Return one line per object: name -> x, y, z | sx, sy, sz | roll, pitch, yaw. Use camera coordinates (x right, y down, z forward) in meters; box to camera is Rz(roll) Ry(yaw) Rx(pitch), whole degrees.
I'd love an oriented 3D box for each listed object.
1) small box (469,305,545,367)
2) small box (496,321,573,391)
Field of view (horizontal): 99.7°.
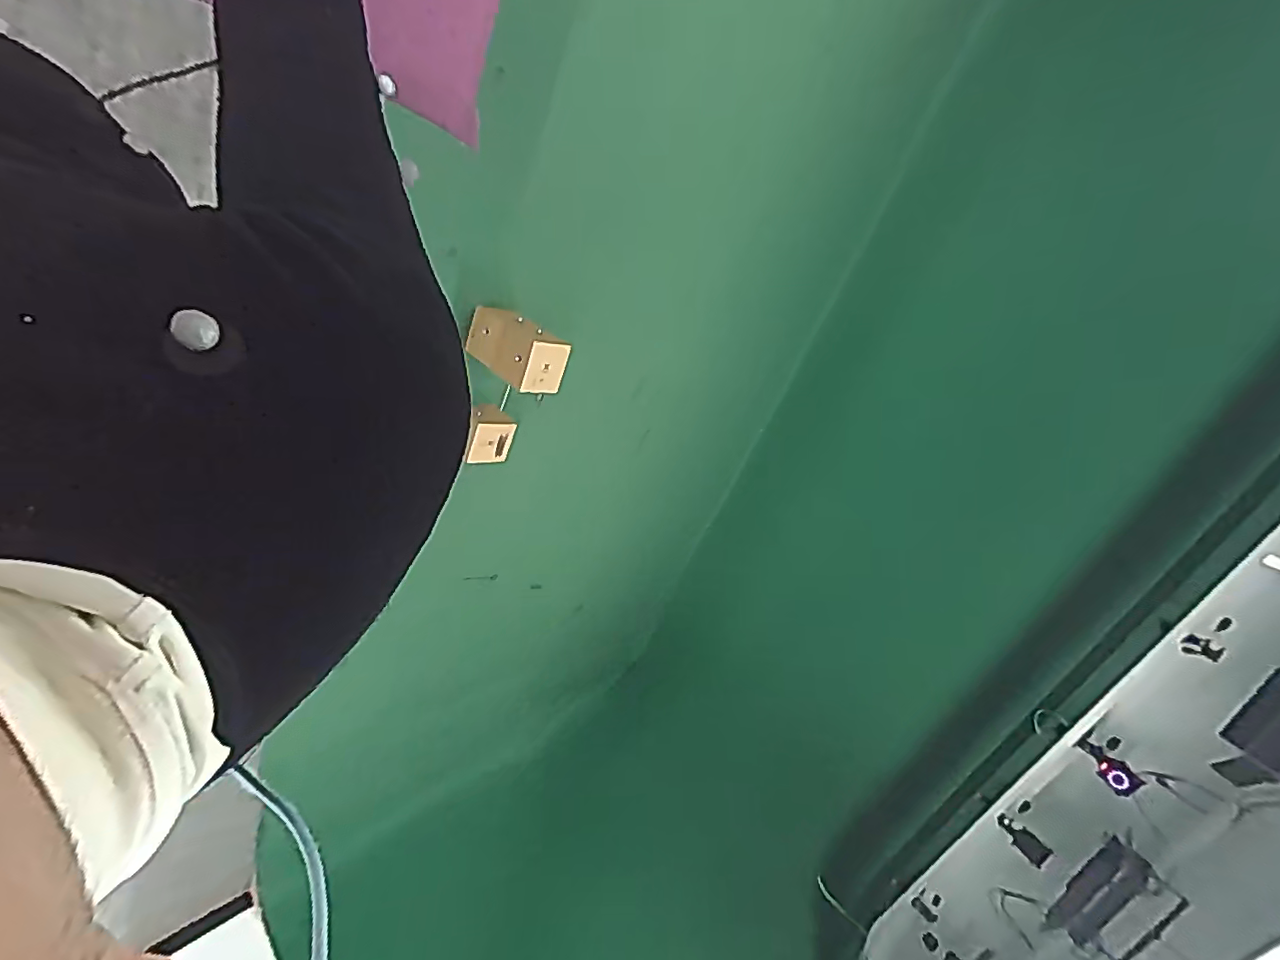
small box -> -0.471, -0.499, 1.893 | 0.179, 0.176, 0.168 | -10, 129, -51
small box -> -0.358, -0.414, 1.808 | 0.168, 0.176, 0.179 | -9, 129, -51
